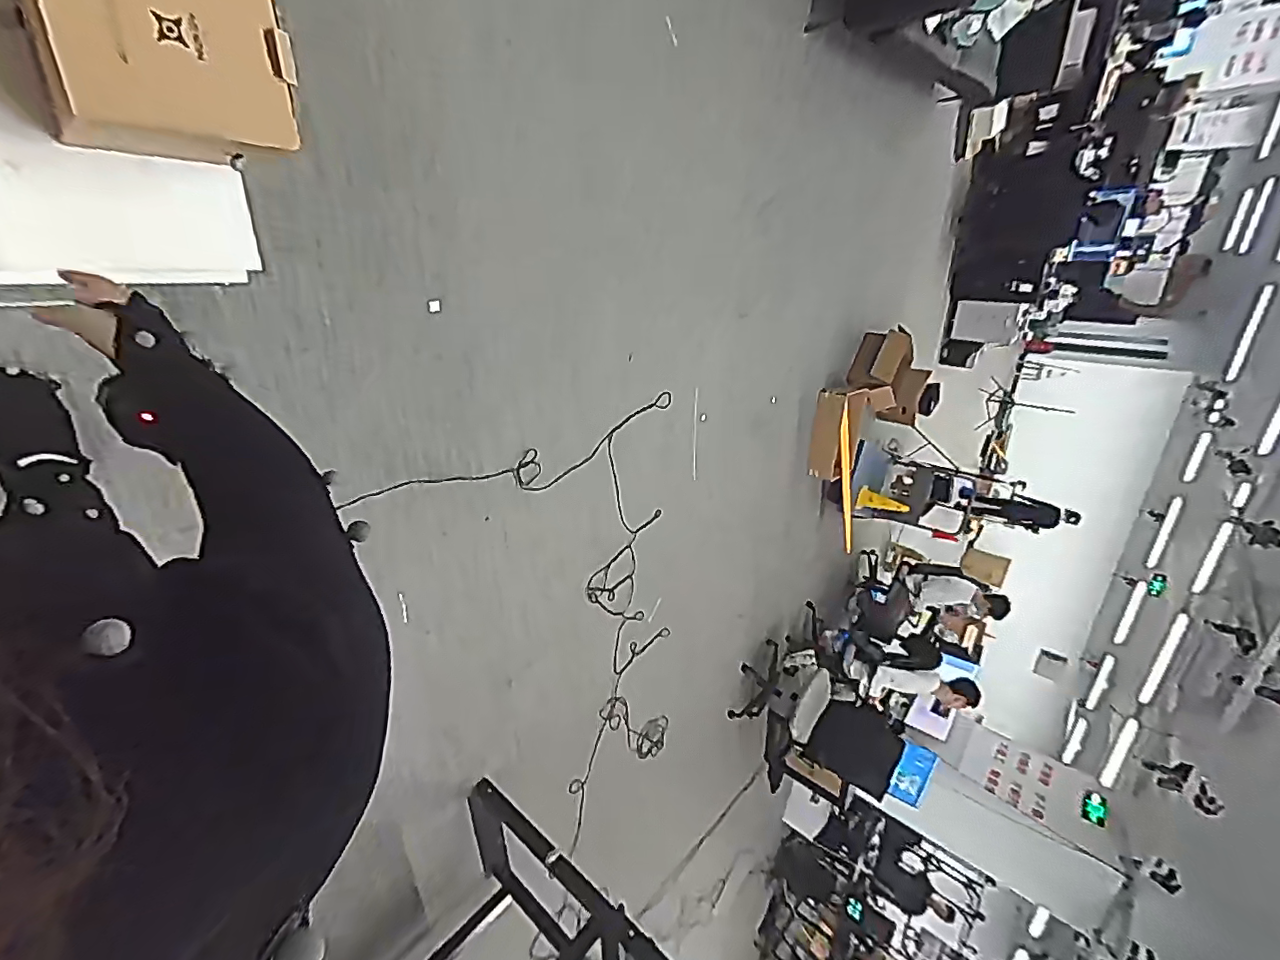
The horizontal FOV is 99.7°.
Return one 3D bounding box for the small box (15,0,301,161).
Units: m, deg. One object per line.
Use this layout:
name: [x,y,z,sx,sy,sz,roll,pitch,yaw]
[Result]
small box: [-0.471,-0.423,0.530,0.179,0.176,0.168,-20,120,-44]
